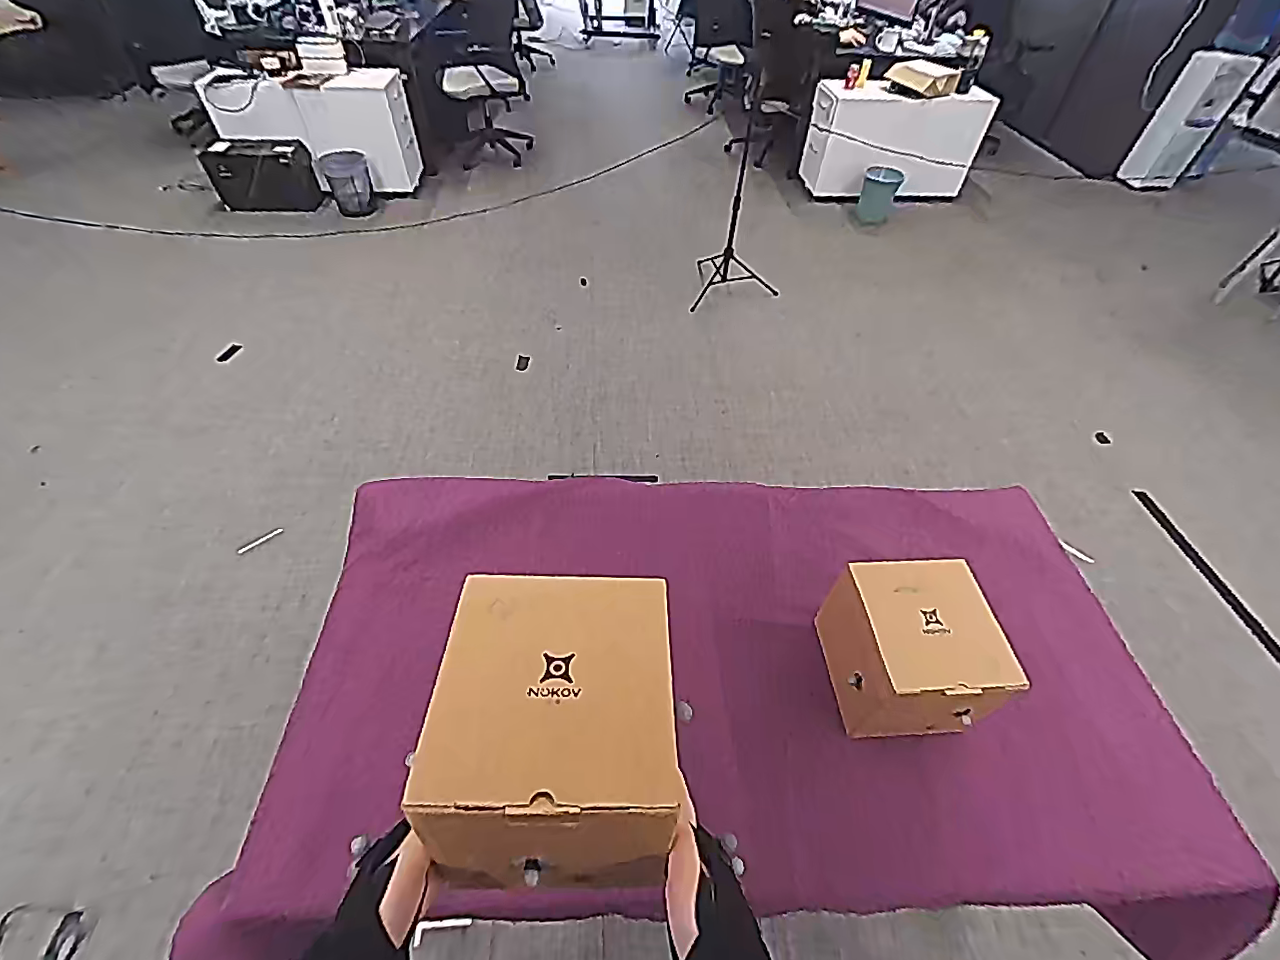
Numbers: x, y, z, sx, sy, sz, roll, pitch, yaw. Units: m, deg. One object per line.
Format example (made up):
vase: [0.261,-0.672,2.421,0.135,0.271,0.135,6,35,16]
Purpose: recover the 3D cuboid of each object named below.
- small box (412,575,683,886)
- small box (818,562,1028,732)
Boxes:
small box: [-0.061,0.199,0.437,0.168,0.176,0.179,2,41,-3]
small box: [0.359,0.230,0.729,0.168,0.176,0.179,0,49,-4]
